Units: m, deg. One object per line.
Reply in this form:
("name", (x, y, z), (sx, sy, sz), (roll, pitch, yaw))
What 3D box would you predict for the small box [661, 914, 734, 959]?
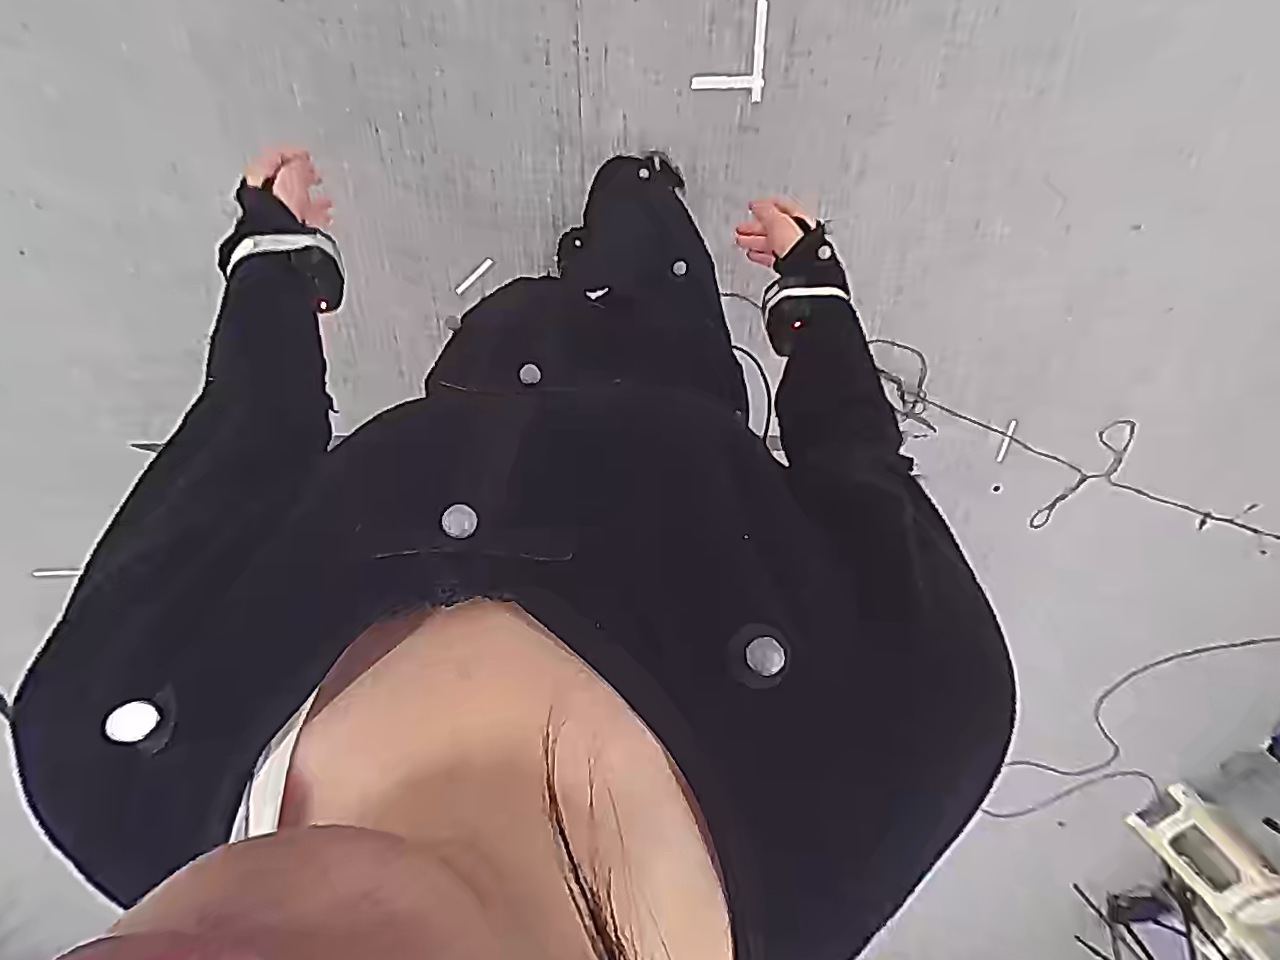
("small box", (0.150, 1.261, 1.396), (0.168, 0.176, 0.179), (3, 117, -7))
